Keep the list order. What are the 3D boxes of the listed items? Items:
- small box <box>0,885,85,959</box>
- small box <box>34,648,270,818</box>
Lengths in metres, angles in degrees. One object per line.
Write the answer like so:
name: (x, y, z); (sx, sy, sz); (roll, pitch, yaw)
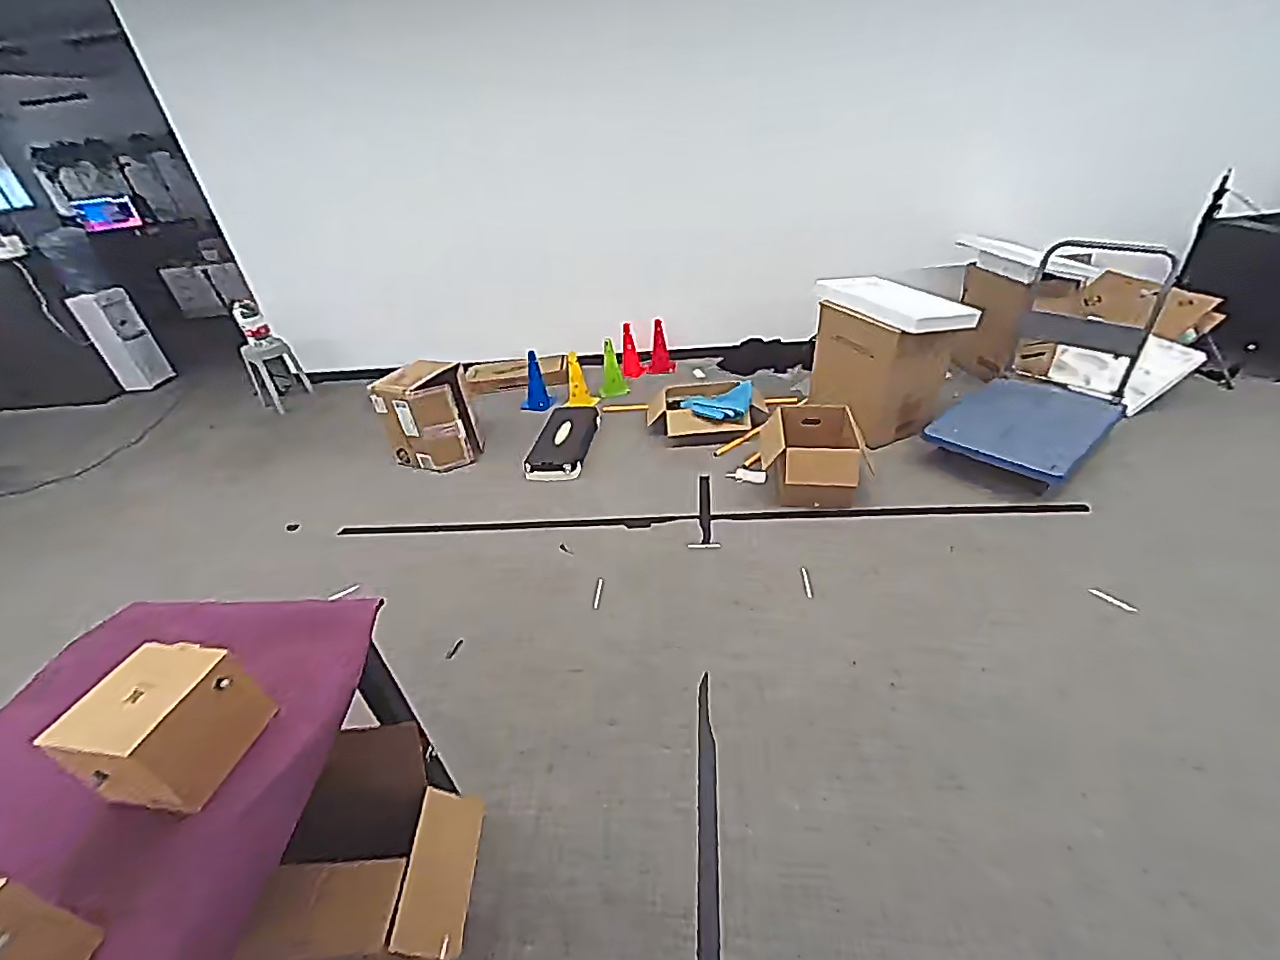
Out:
small box: (-0.762, 0.564, 0.570); (0.168, 0.176, 0.179); (-6, 33, 6)
small box: (-0.726, 0.387, 0.833); (0.168, 0.176, 0.179); (0, 34, 11)
